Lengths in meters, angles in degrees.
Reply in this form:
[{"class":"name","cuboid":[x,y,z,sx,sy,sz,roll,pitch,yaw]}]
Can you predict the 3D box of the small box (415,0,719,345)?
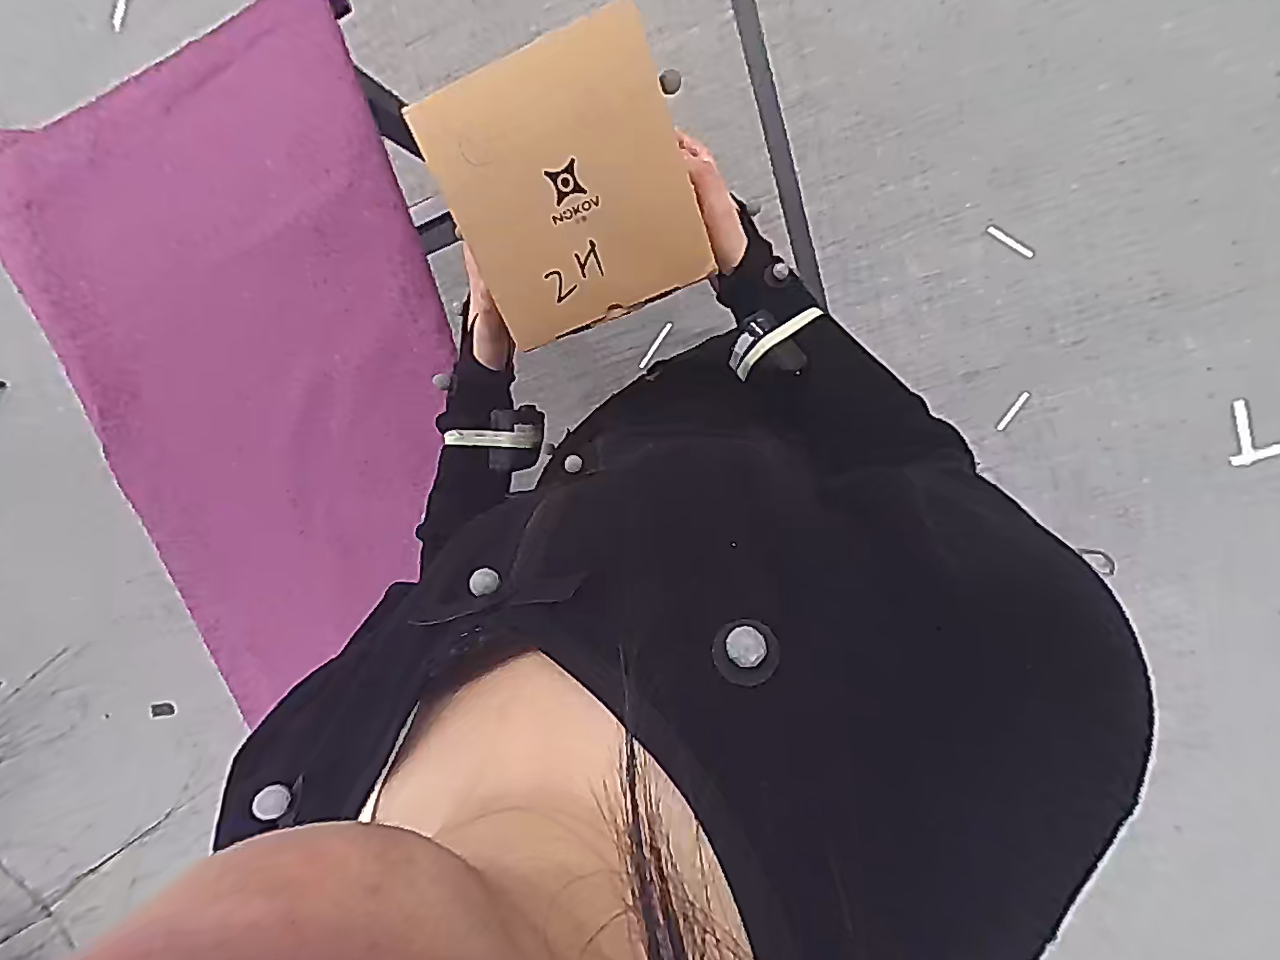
[{"class":"small box","cuboid":[-0.046,-0.236,0.451,0.168,0.176,0.179,-19,114,9]}]
